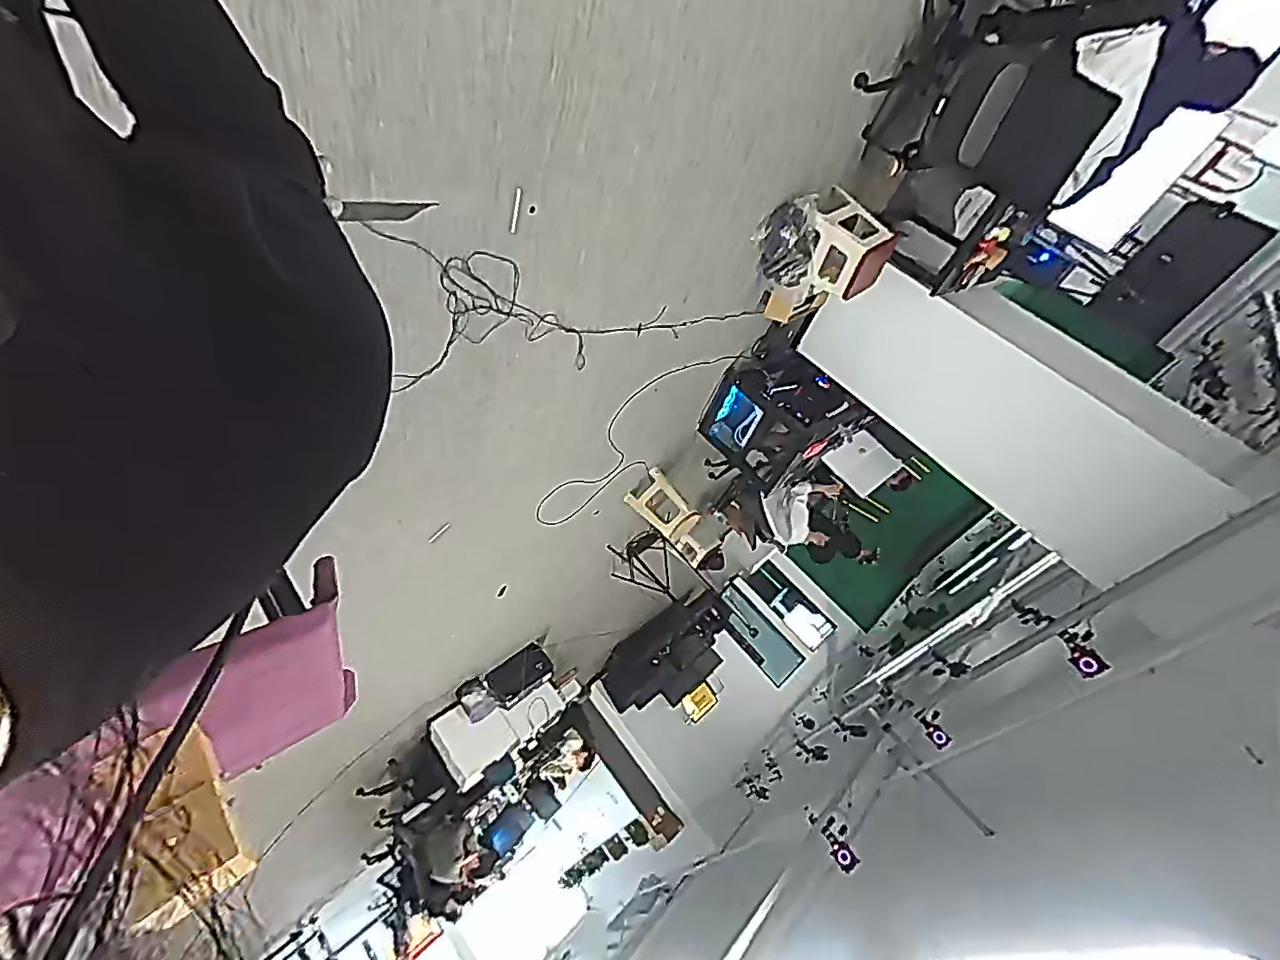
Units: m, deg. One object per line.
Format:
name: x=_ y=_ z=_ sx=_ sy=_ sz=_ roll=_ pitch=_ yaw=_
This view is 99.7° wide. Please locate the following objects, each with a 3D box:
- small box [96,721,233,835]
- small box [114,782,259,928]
small box: x=-1.025 y=0.658 z=1.172 sx=0.168 sy=0.176 sz=0.179 roll=-26 pitch=153 yaw=-39
small box: x=-0.912 y=0.752 z=1.094 sx=0.168 sy=0.176 sz=0.179 roll=-26 pitch=153 yaw=-38
